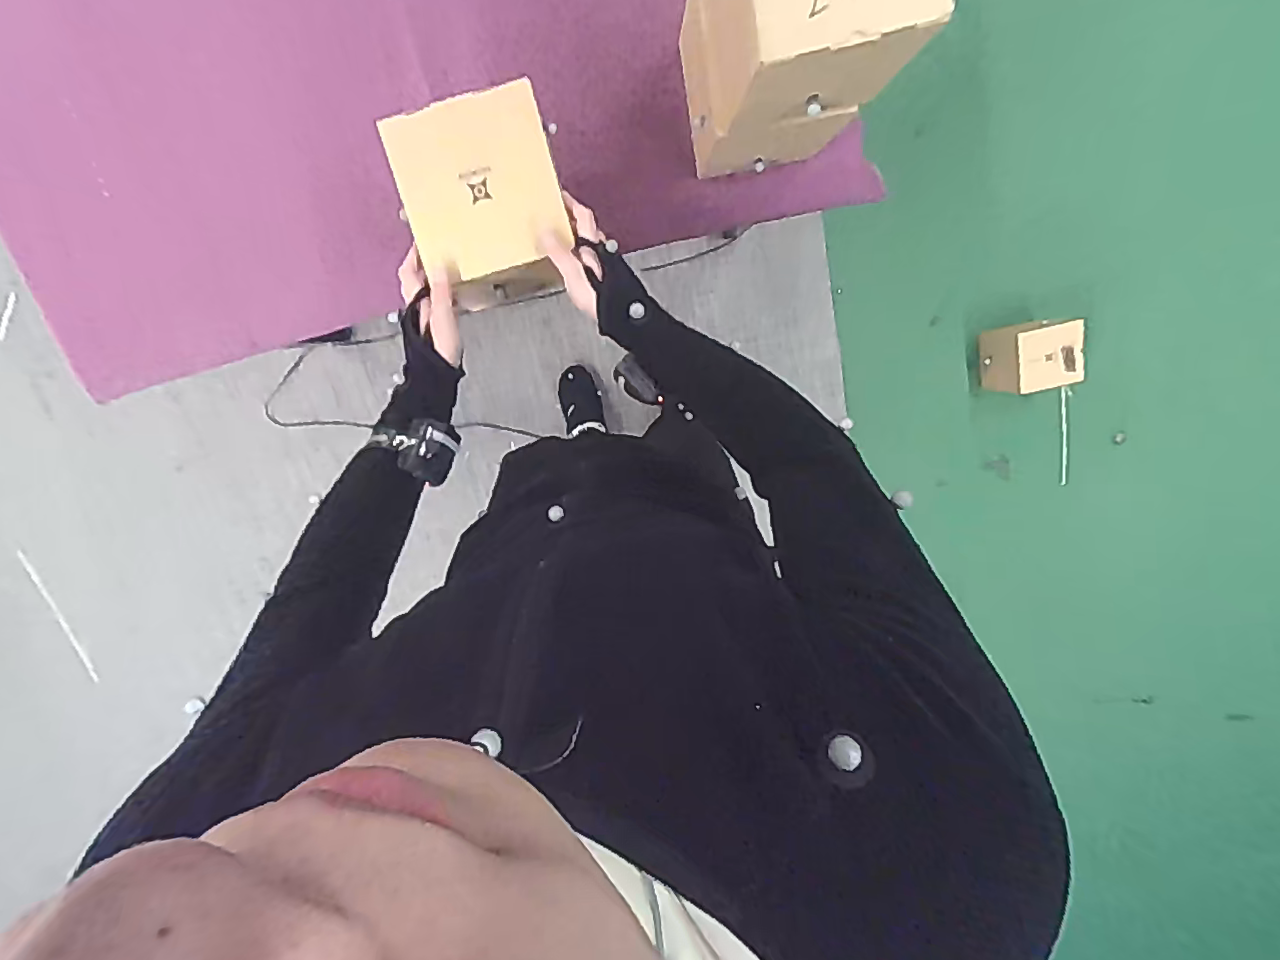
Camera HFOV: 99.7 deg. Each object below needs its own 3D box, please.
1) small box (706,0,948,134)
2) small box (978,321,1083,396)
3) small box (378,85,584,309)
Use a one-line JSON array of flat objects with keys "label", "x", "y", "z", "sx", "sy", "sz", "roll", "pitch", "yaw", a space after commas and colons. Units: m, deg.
[{"label": "small box", "x": 0.160, "y": -0.469, "z": 0.513, "sx": 0.168, "sy": 0.176, "sz": 0.179, "roll": -12, "pitch": 105, "yaw": 2}, {"label": "small box", "x": 1.084, "y": -0.343, "z": 1.509, "sx": 0.179, "sy": 0.176, "sz": 0.168, "roll": -13, "pitch": 105, "yaw": 2}, {"label": "small box", "x": -0.171, "y": -0.314, "z": 0.645, "sx": 0.168, "sy": 0.176, "sz": 0.179, "roll": -16, "pitch": 99, "yaw": 1}]
